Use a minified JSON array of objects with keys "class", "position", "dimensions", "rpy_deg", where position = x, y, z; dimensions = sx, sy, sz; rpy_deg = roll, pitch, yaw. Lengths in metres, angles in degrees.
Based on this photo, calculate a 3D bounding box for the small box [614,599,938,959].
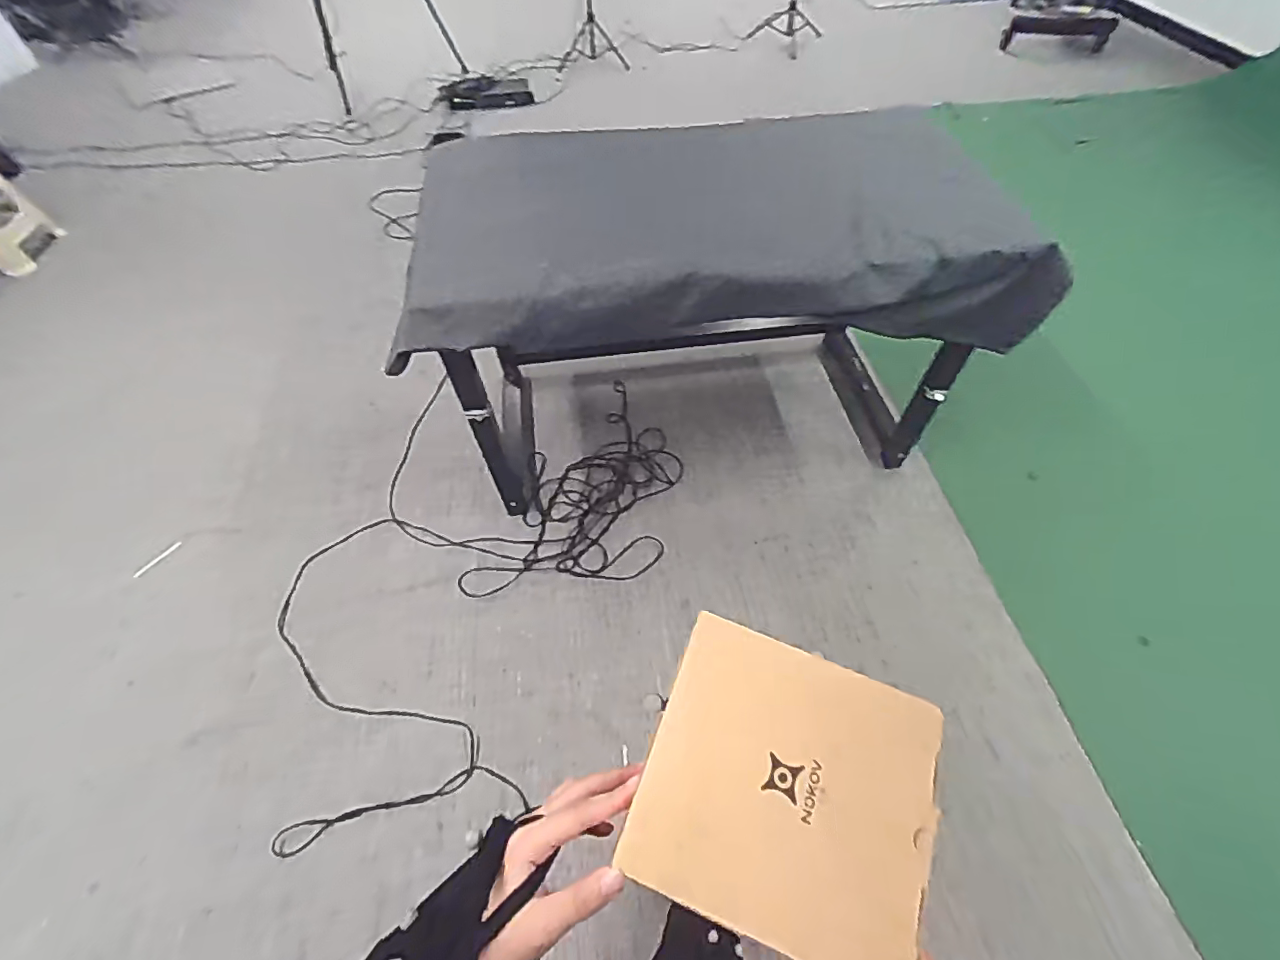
[{"class":"small box","position":[0.089,0.219,0.408],"dimensions":[0.179,0.176,0.168],"rpy_deg":[20,60,8]}]
